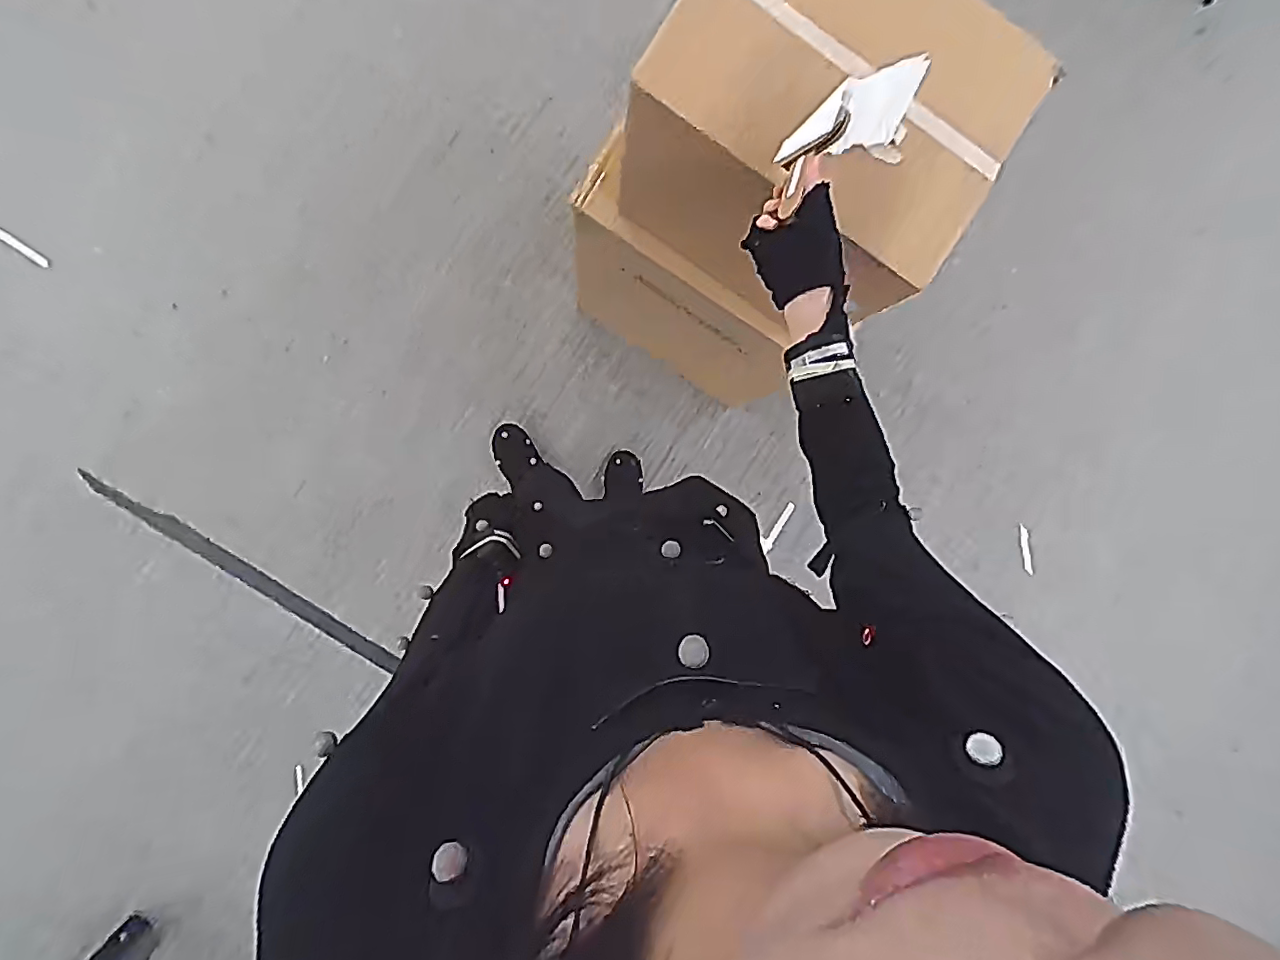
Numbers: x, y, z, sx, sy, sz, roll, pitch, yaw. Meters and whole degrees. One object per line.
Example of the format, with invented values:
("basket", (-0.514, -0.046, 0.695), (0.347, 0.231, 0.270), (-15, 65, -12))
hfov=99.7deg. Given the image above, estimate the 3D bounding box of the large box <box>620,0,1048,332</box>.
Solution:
("large box", (0.225, -0.474, 0.764), (0.408, 0.320, 0.320), (32, 90, -7))
